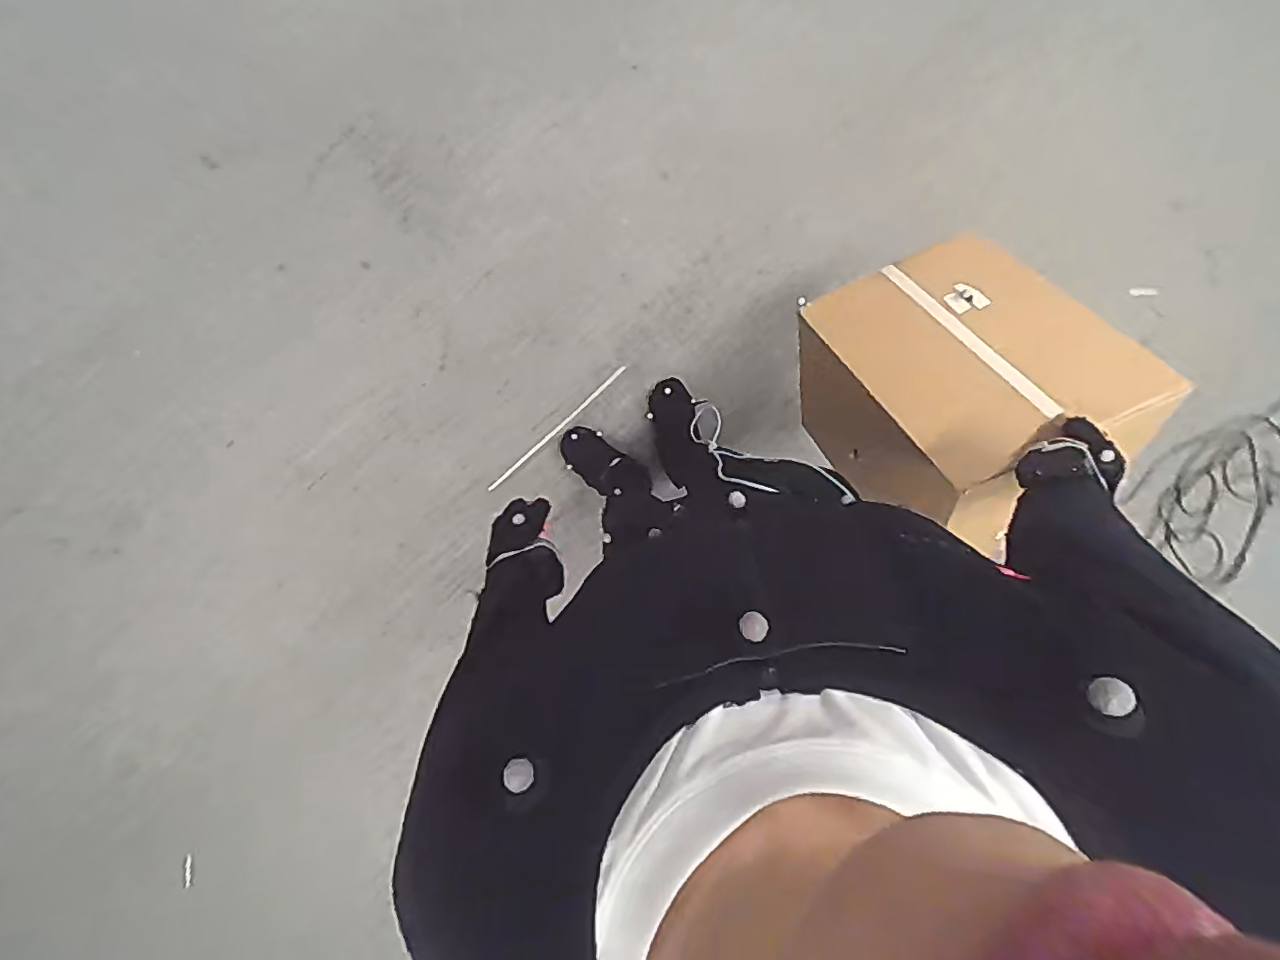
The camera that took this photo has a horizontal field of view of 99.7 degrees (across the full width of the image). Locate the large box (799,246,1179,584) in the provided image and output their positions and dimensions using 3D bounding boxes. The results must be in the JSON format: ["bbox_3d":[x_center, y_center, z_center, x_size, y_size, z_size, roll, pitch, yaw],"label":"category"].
[{"bbox_3d":[0.513,-0.105,0.910,0.320,0.408,0.320,-24,143,1],"label":"large box"}]
